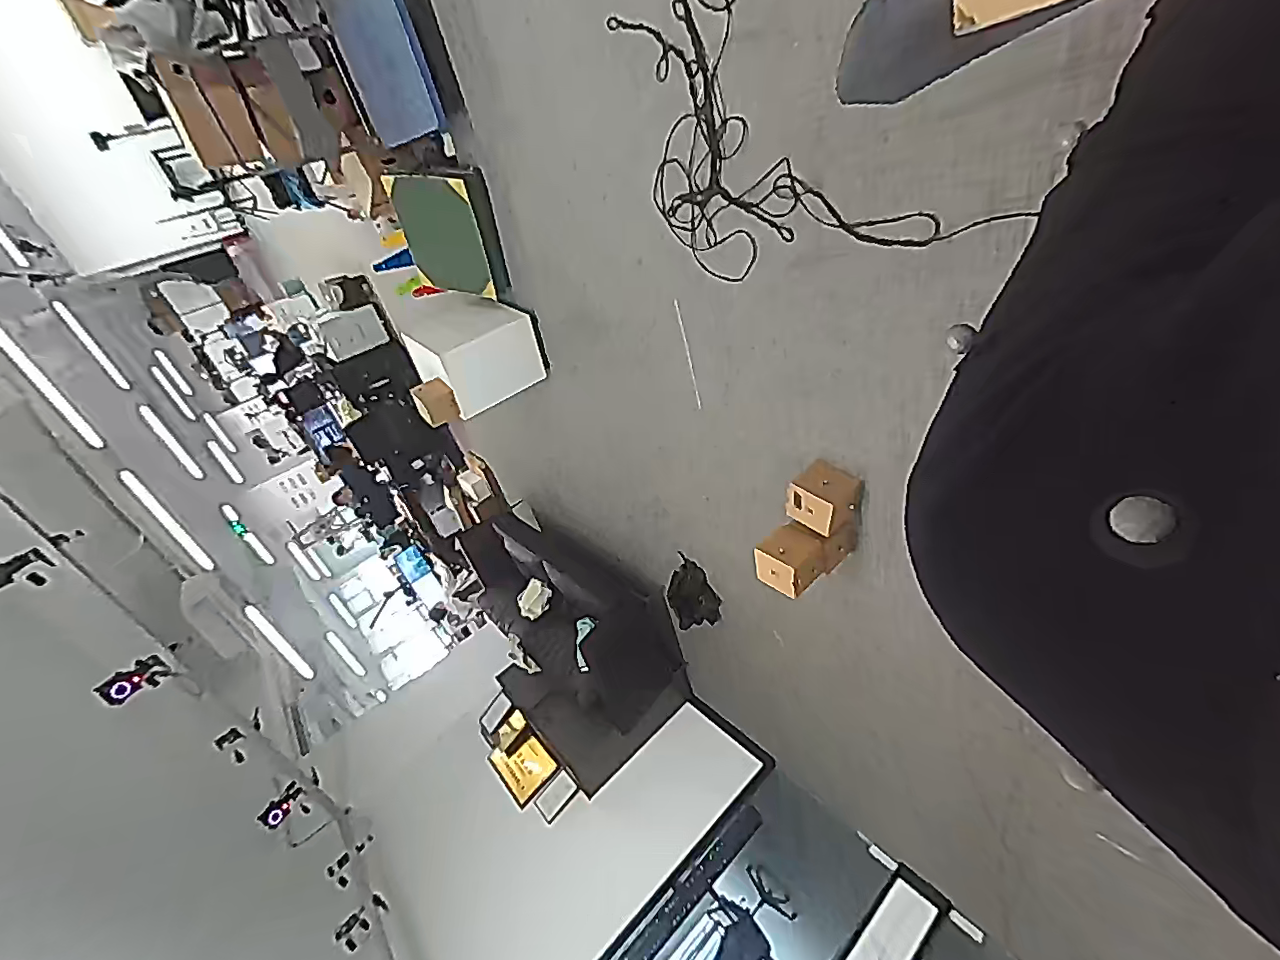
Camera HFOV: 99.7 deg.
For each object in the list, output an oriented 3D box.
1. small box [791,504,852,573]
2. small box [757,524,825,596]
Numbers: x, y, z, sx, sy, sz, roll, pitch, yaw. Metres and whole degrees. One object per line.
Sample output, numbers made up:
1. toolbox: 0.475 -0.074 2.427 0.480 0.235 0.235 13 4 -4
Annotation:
1. small box: 0.688 0.215 2.055 0.179 0.176 0.168 26 142 43
2. small box: 0.556 0.284 1.987 0.179 0.176 0.168 27 142 44
